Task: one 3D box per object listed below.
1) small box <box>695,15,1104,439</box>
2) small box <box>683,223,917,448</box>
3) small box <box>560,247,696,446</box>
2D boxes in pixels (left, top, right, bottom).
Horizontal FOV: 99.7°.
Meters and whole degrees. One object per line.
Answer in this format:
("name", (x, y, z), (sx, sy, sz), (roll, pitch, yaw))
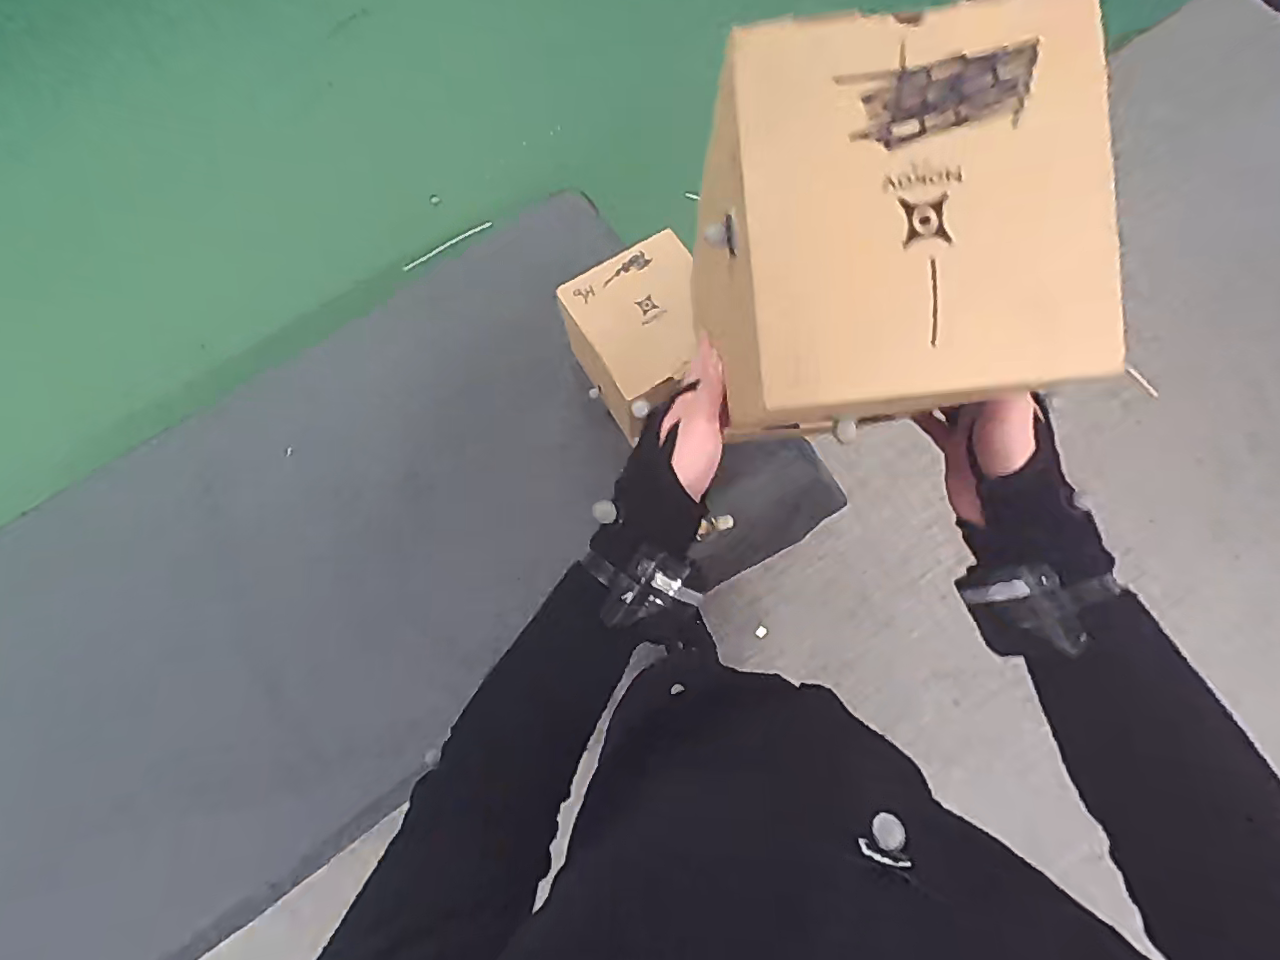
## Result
("small box", (0.129, -0.124, 0.334), (0.168, 0.176, 0.179), (-7, 92, 2))
("small box", (0.132, -0.124, 0.499), (0.168, 0.176, 0.179), (-7, 89, 1))
("small box", (0.016, -0.162, 0.724), (0.168, 0.176, 0.179), (-31, 77, -7))
